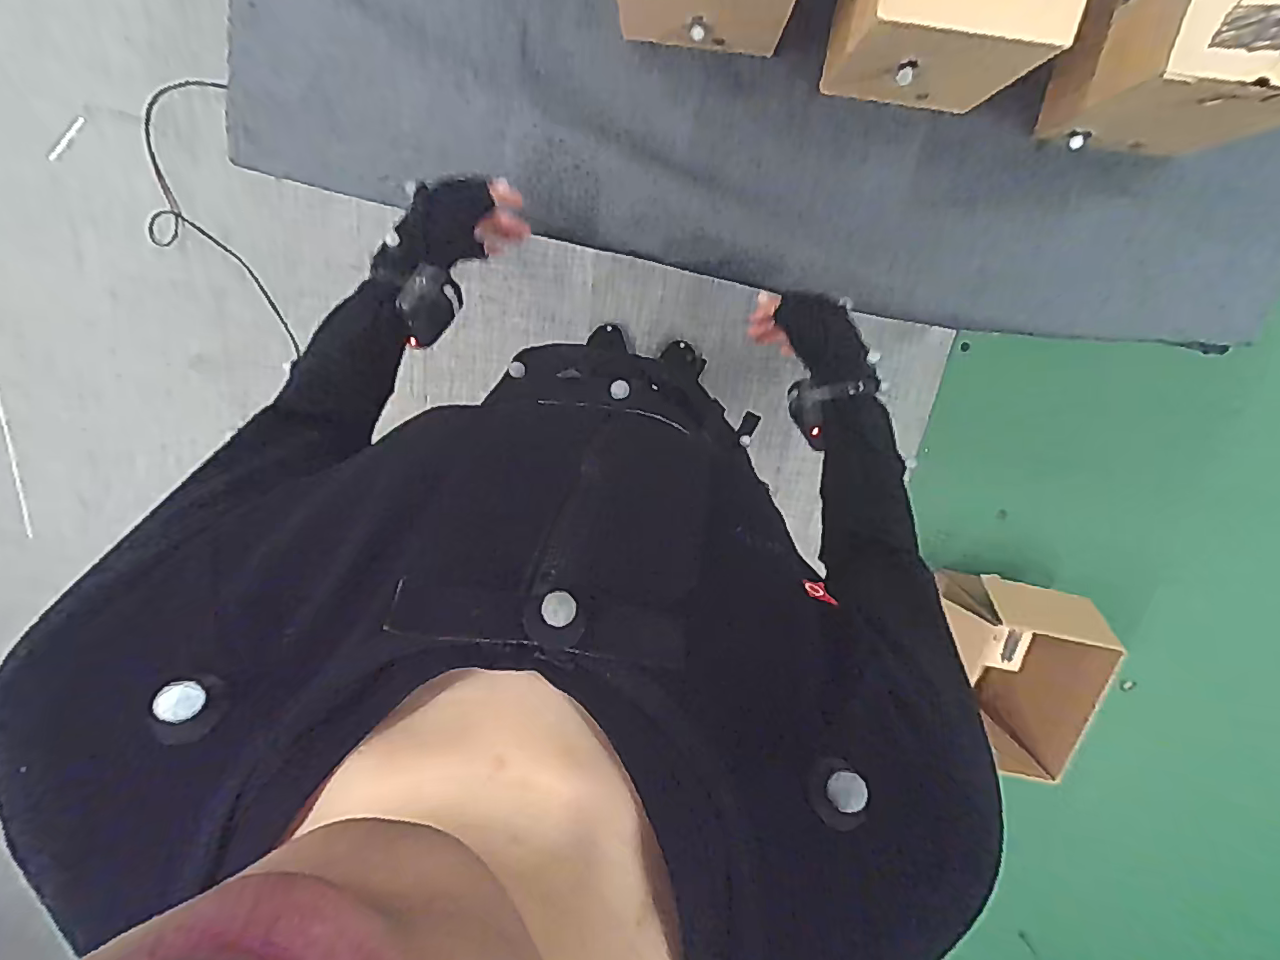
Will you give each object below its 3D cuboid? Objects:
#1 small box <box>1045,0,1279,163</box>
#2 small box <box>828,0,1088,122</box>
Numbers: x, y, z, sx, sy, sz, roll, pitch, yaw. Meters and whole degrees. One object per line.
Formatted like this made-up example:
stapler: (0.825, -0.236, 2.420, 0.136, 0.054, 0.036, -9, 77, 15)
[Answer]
small box: (0.524, -0.415, 0.497, 0.168, 0.176, 0.179, 8, 106, 0)
small box: (0.288, -0.459, 0.496, 0.168, 0.176, 0.179, 8, 106, 0)
